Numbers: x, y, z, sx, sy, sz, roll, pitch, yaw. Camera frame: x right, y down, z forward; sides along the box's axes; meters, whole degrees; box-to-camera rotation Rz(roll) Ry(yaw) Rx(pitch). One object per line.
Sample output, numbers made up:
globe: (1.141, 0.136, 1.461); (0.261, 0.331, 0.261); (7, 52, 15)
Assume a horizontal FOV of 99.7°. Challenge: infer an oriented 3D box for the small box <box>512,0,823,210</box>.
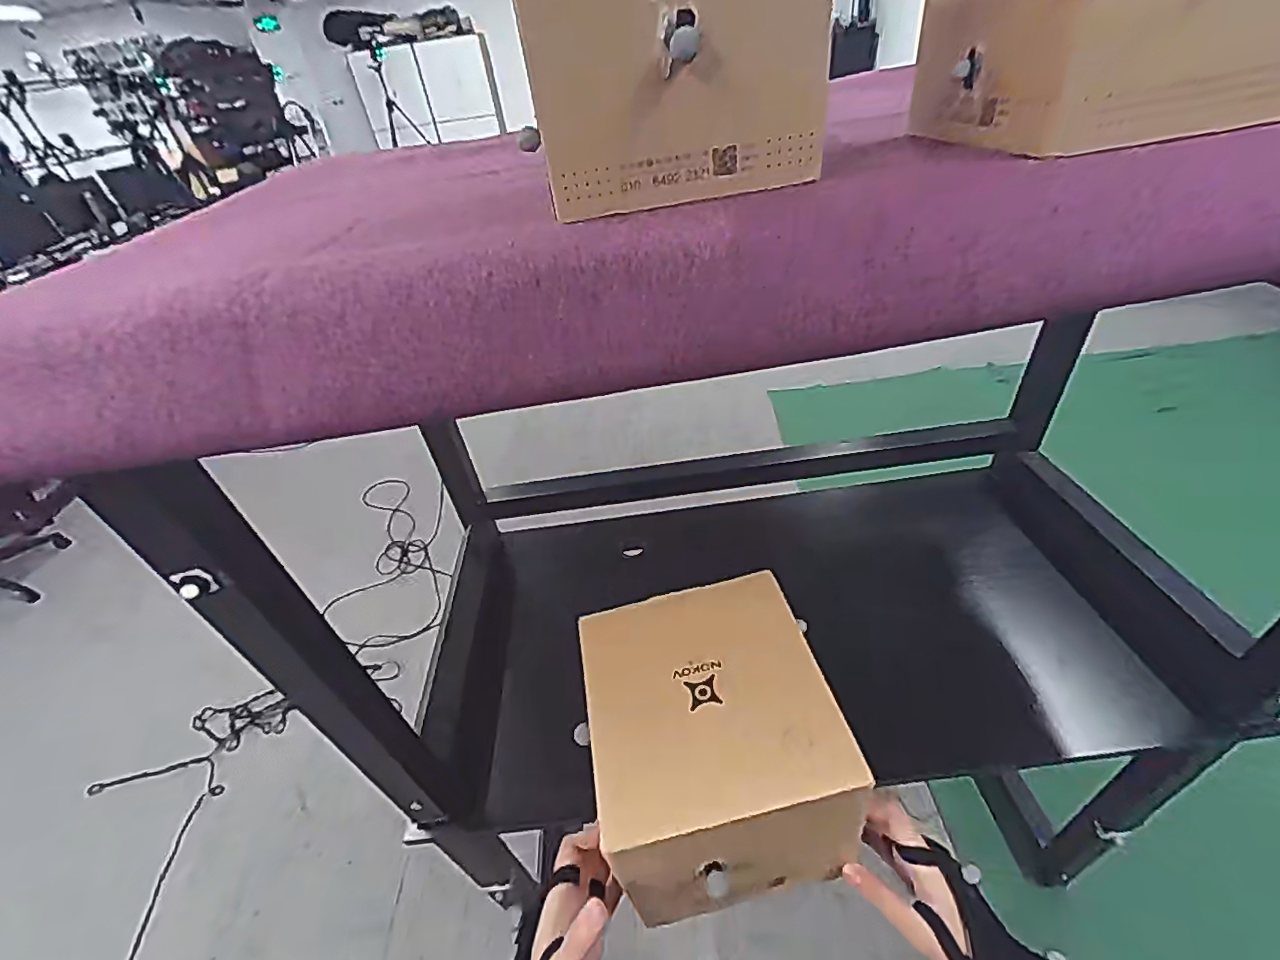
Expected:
small box: (0.011, -0.284, 0.346); (0.168, 0.176, 0.179); (-9, 38, -2)
